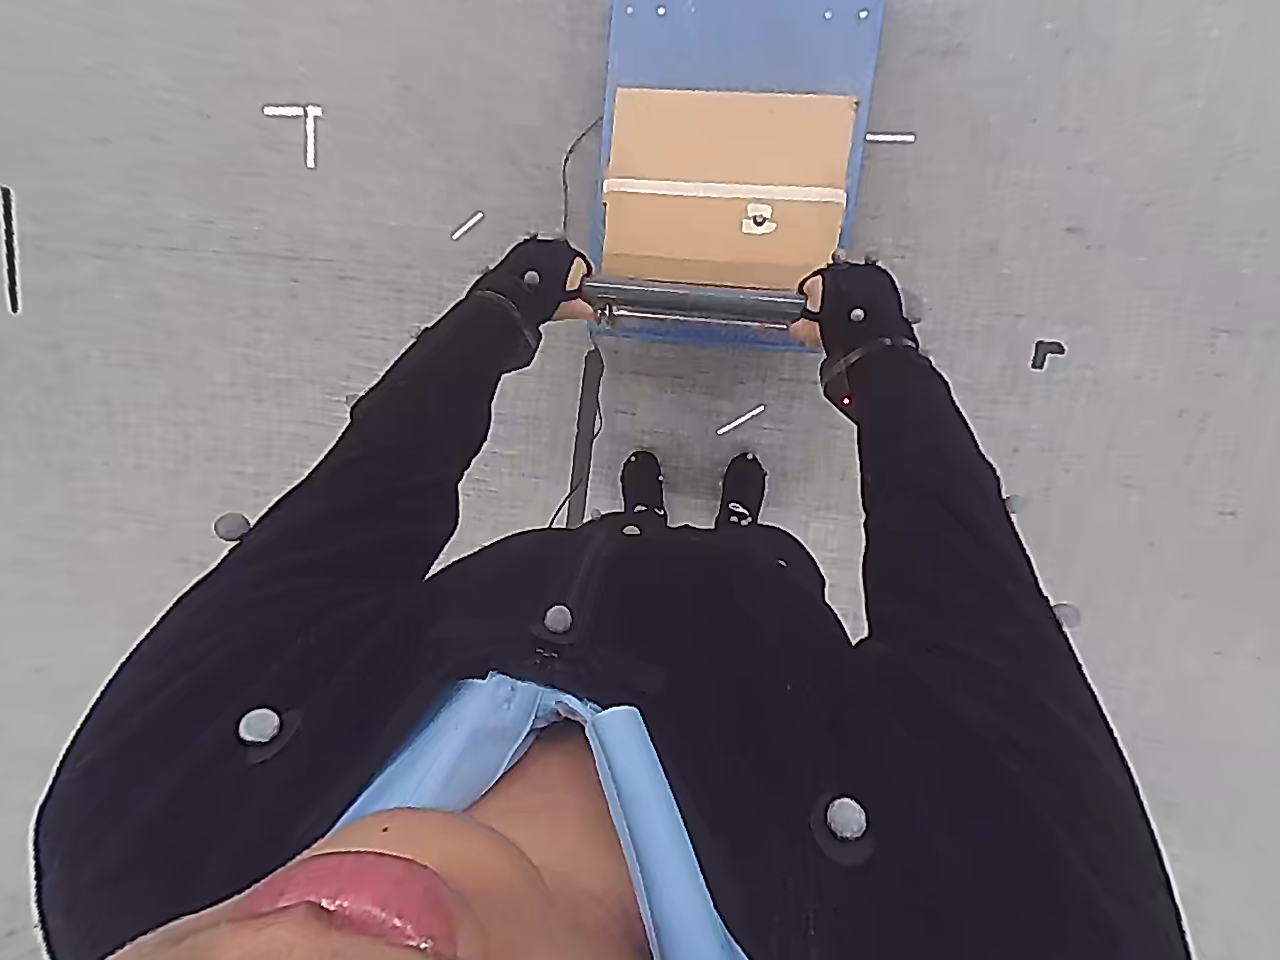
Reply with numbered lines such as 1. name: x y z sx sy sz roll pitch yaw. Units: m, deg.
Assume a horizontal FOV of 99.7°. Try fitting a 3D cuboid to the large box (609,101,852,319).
1. large box: 0.164 -0.514 1.092 0.408 0.320 0.320 6 100 6
